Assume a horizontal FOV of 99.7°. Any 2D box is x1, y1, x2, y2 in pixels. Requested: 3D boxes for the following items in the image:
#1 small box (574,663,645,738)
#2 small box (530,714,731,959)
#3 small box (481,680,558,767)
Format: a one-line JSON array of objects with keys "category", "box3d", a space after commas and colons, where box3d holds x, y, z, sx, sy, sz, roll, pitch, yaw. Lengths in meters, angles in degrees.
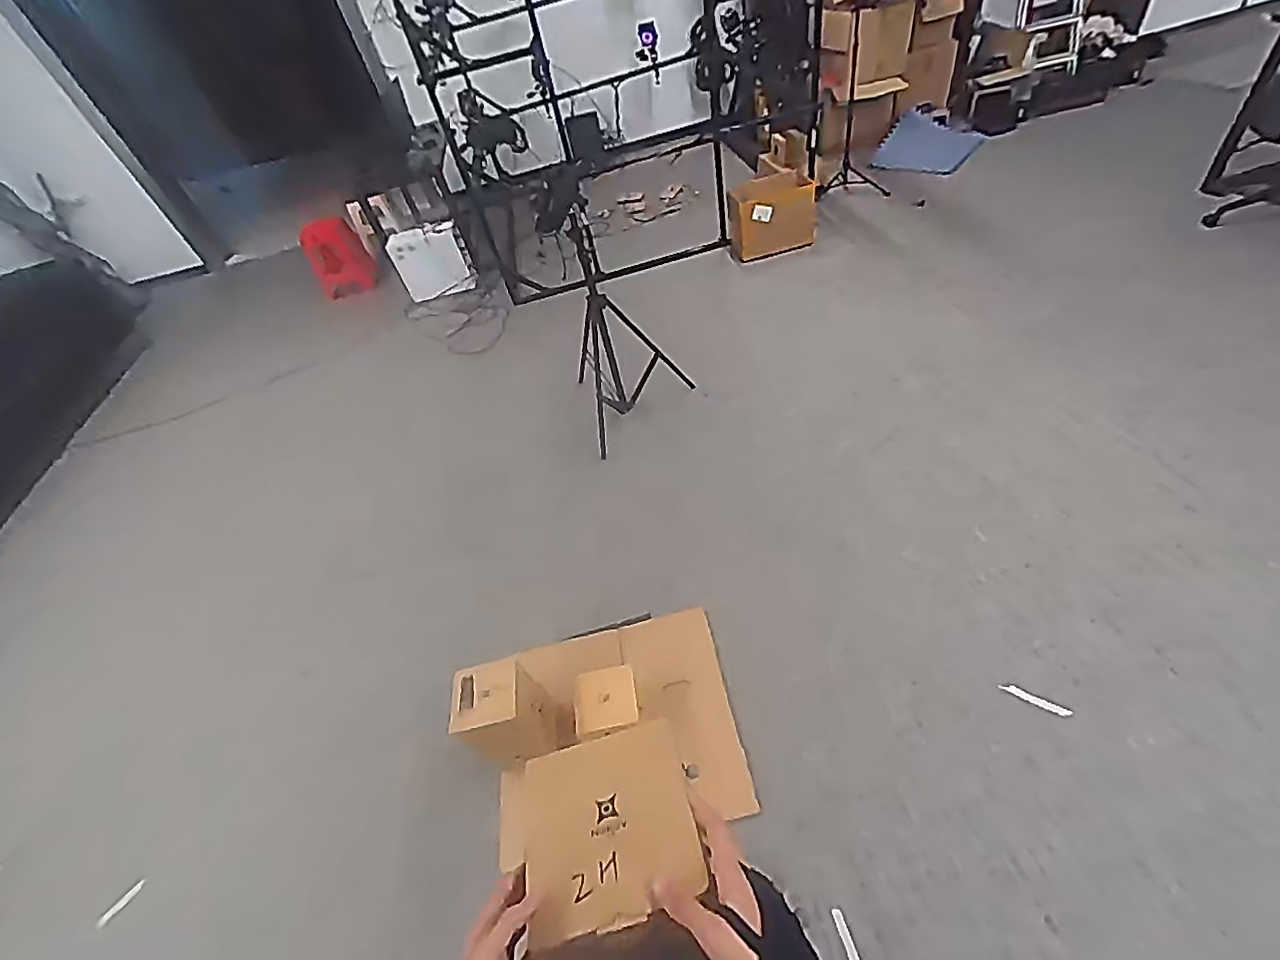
[{"category": "small box", "box3d": [-0.083, 0.650, 1.552, 0.179, 0.176, 0.168, -13, 47, 3]}, {"category": "small box", "box3d": [-0.012, 0.393, 0.575, 0.168, 0.176, 0.179, -16, 32, -2]}, {"category": "small box", "box3d": [-0.342, 0.707, 1.563, 0.179, 0.176, 0.168, -15, 46, 2]}]
